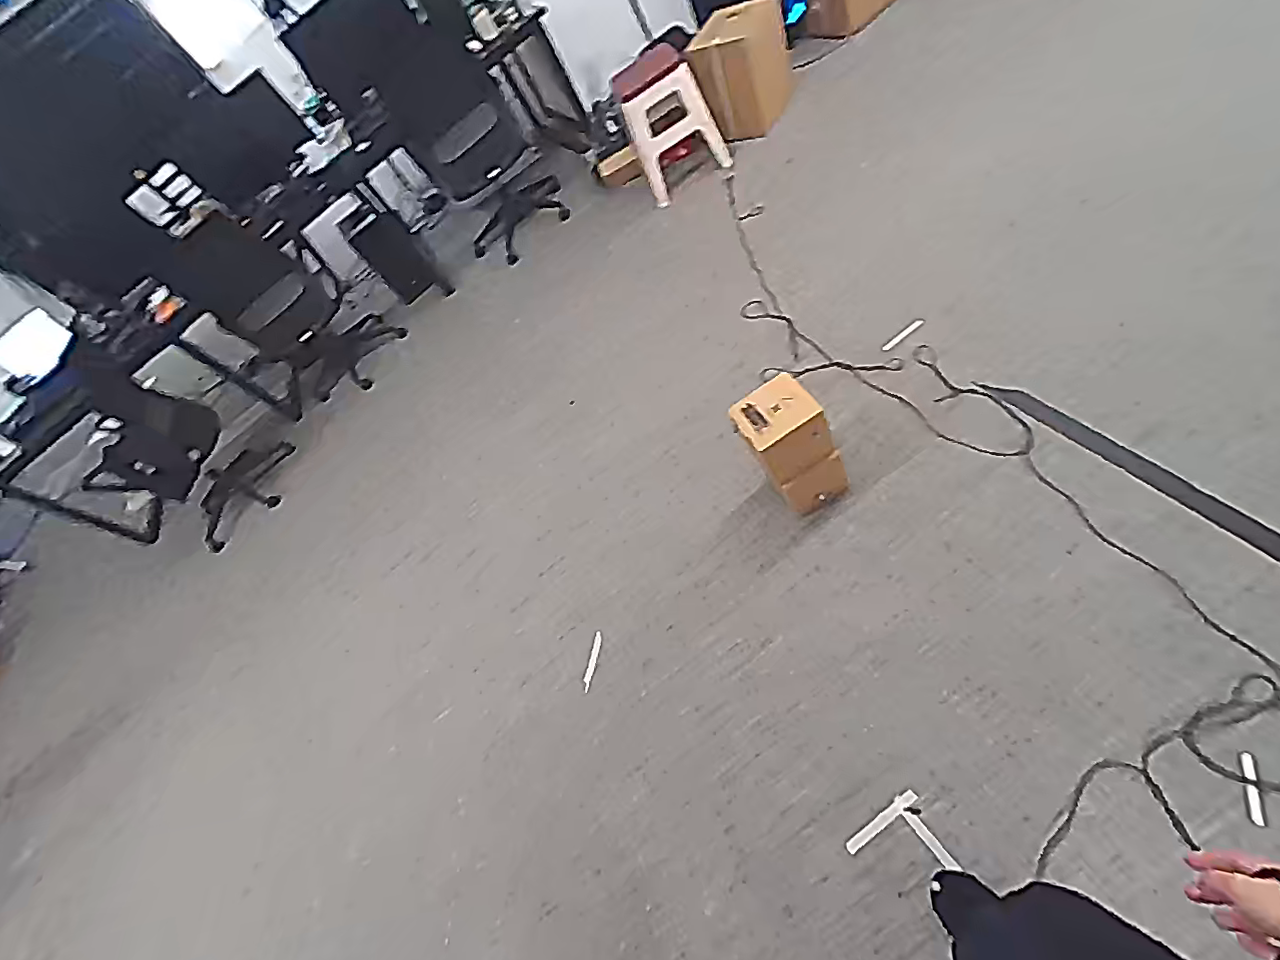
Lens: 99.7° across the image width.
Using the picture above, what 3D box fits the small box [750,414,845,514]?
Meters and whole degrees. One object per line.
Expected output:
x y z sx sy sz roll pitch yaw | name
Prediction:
0.428 -0.039 1.464 0.168 0.176 0.179 -34 50 7 | small box
